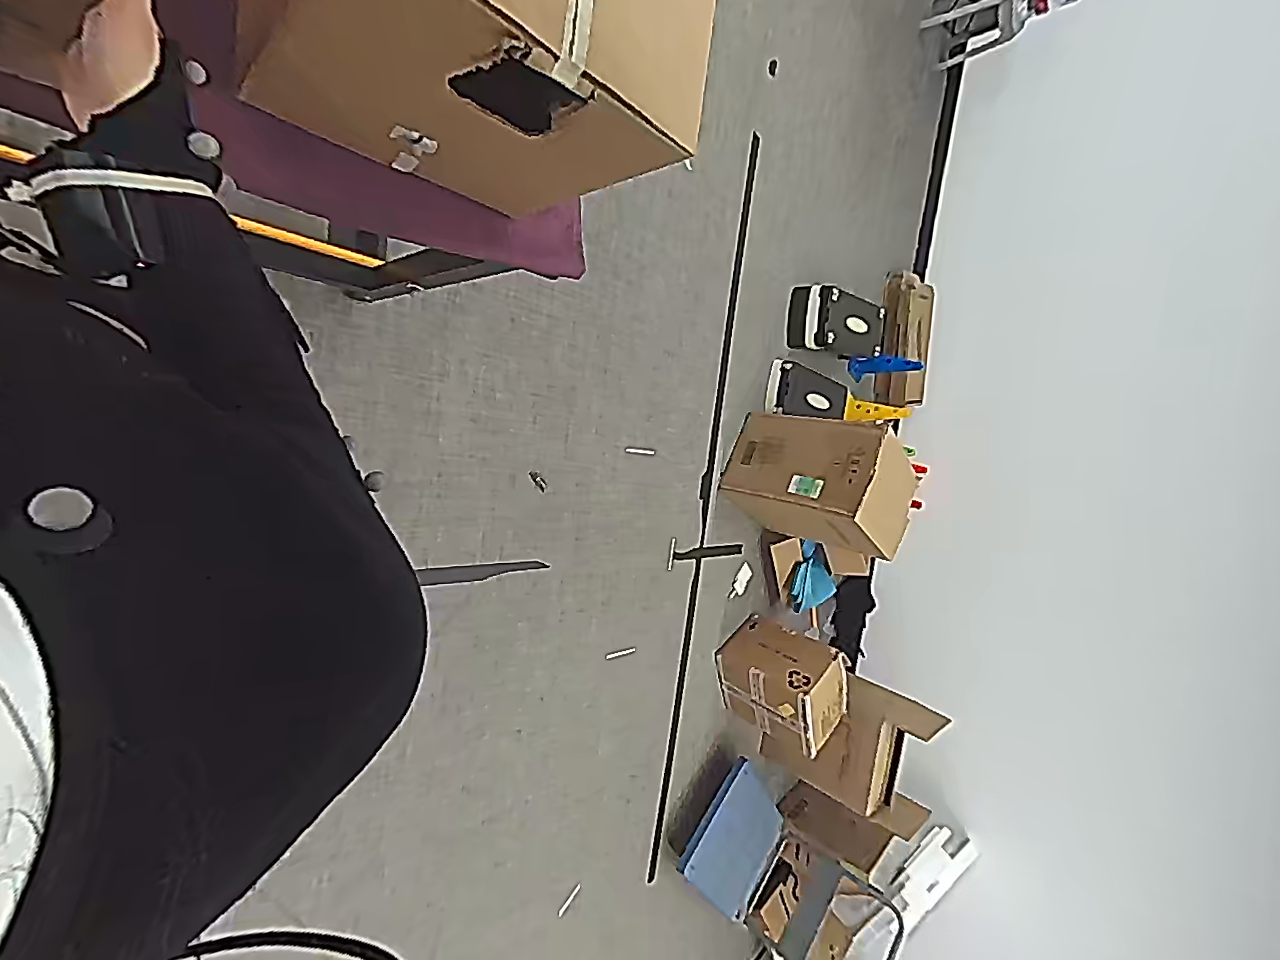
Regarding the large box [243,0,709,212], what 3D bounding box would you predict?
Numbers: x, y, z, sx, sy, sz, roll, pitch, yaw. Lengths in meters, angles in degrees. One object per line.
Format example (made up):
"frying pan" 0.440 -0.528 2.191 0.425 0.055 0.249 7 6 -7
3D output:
"large box" -0.142 -0.525 0.489 0.320 0.320 0.408 1 97 -47
